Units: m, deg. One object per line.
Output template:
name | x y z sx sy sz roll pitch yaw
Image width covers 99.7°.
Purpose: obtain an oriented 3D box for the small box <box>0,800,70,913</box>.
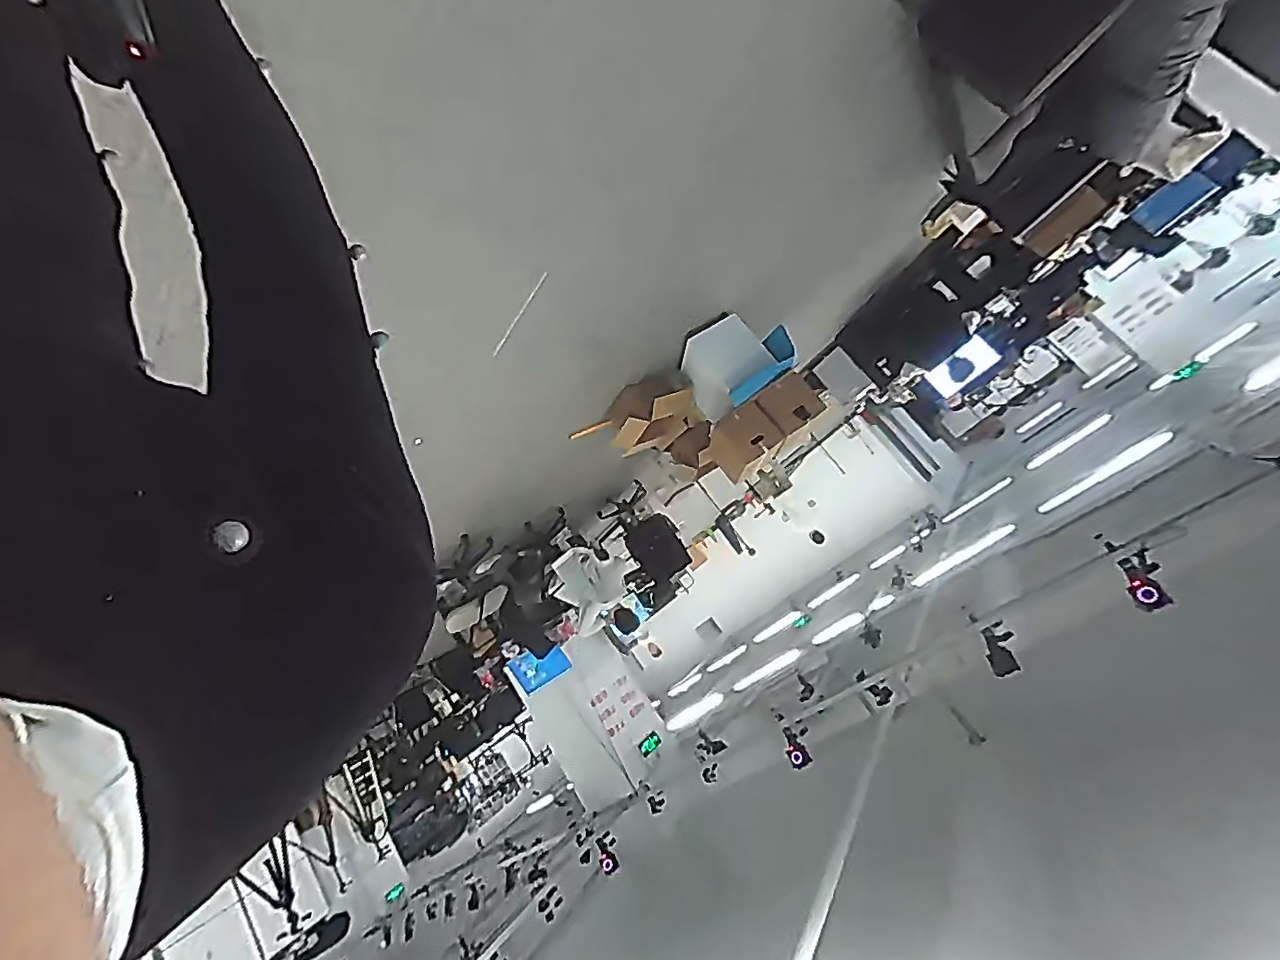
small box | -1.511 0.913 1.291 0.168 0.176 0.179 -46 164 33
